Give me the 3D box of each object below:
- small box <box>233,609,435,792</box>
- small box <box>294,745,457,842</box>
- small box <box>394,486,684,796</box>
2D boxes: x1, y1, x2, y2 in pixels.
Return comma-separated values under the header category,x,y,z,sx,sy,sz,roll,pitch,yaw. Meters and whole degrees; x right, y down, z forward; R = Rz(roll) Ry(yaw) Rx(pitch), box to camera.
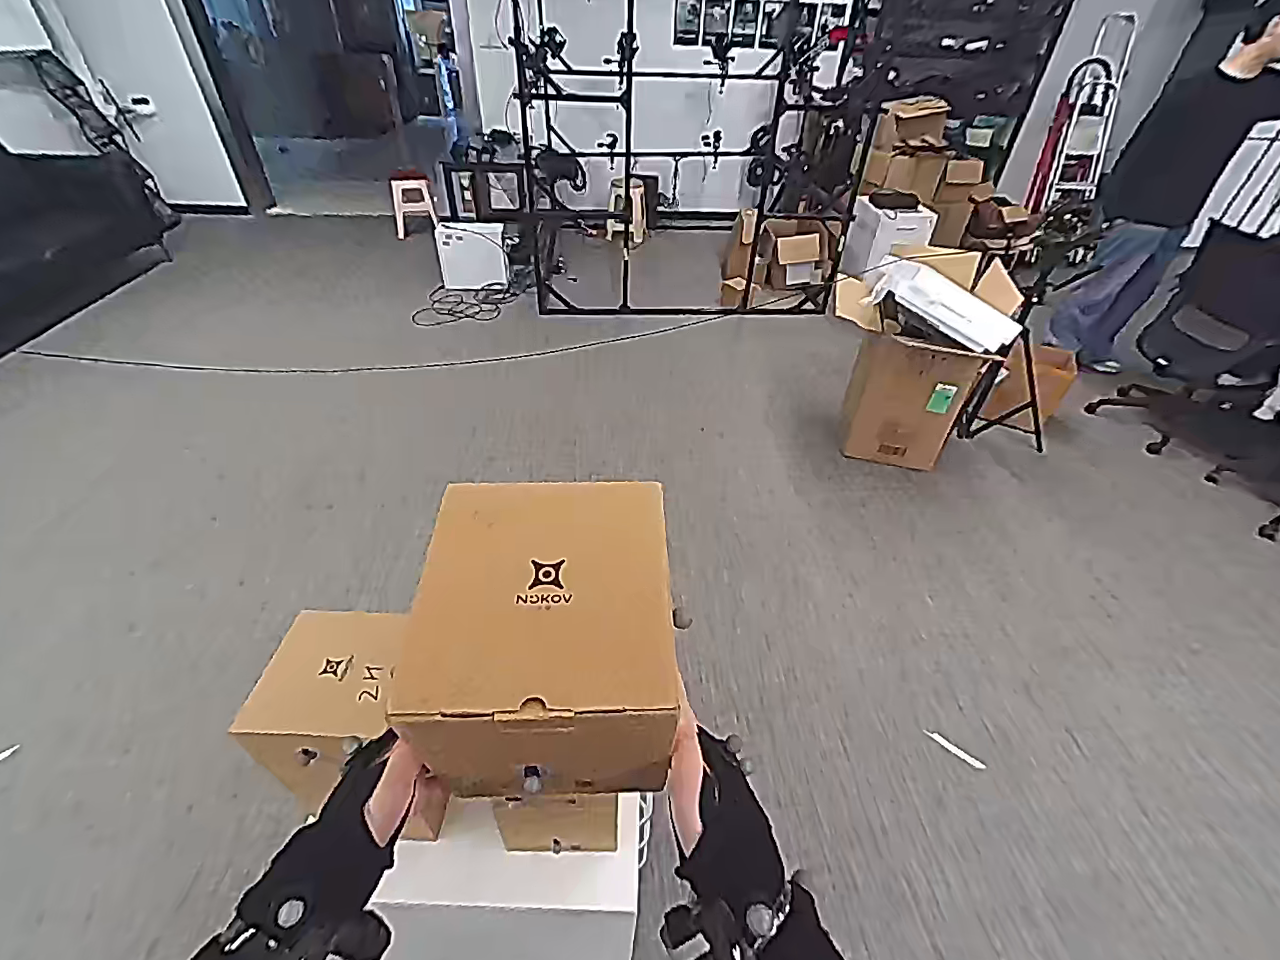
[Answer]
category,x,y,z,sx,sy,sz,roll,pitch,yaw
small box,-0.368,0.291,0.711,0.179,0.176,0.168,3,41,0
small box,-0.374,0.415,0.820,0.168,0.176,0.179,3,39,1
small box,-0.061,0.124,0.416,0.168,0.176,0.179,0,48,-3
